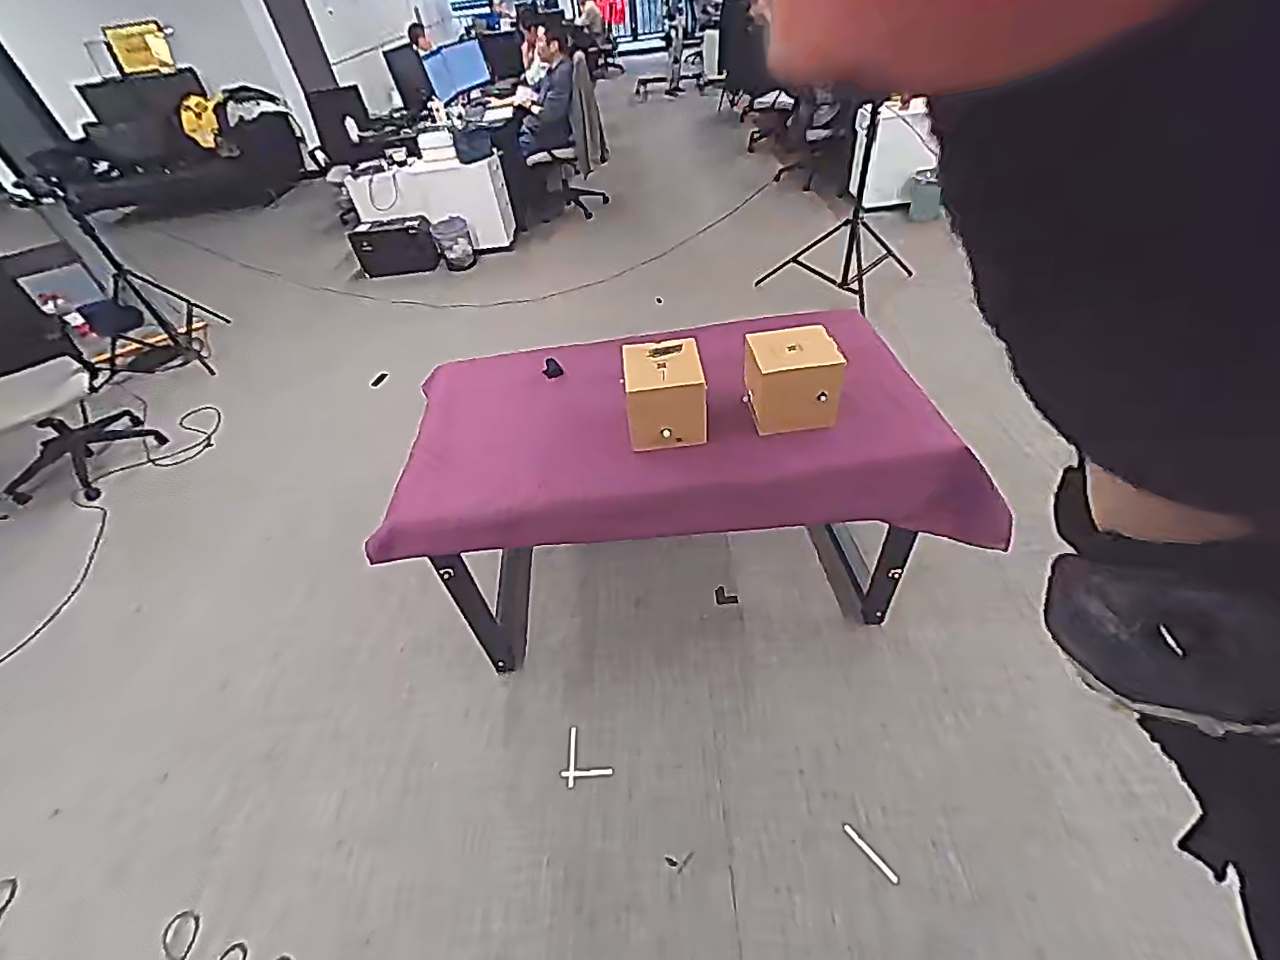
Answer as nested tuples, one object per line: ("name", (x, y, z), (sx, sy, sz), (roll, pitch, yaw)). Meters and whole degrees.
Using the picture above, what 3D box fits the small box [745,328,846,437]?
("small box", (0.337, -0.217, 1.214), (0.179, 0.176, 0.168), (-9, 42, 1))

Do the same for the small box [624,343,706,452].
("small box", (0.056, -0.185, 1.220), (0.168, 0.176, 0.179), (-7, 44, 2))
